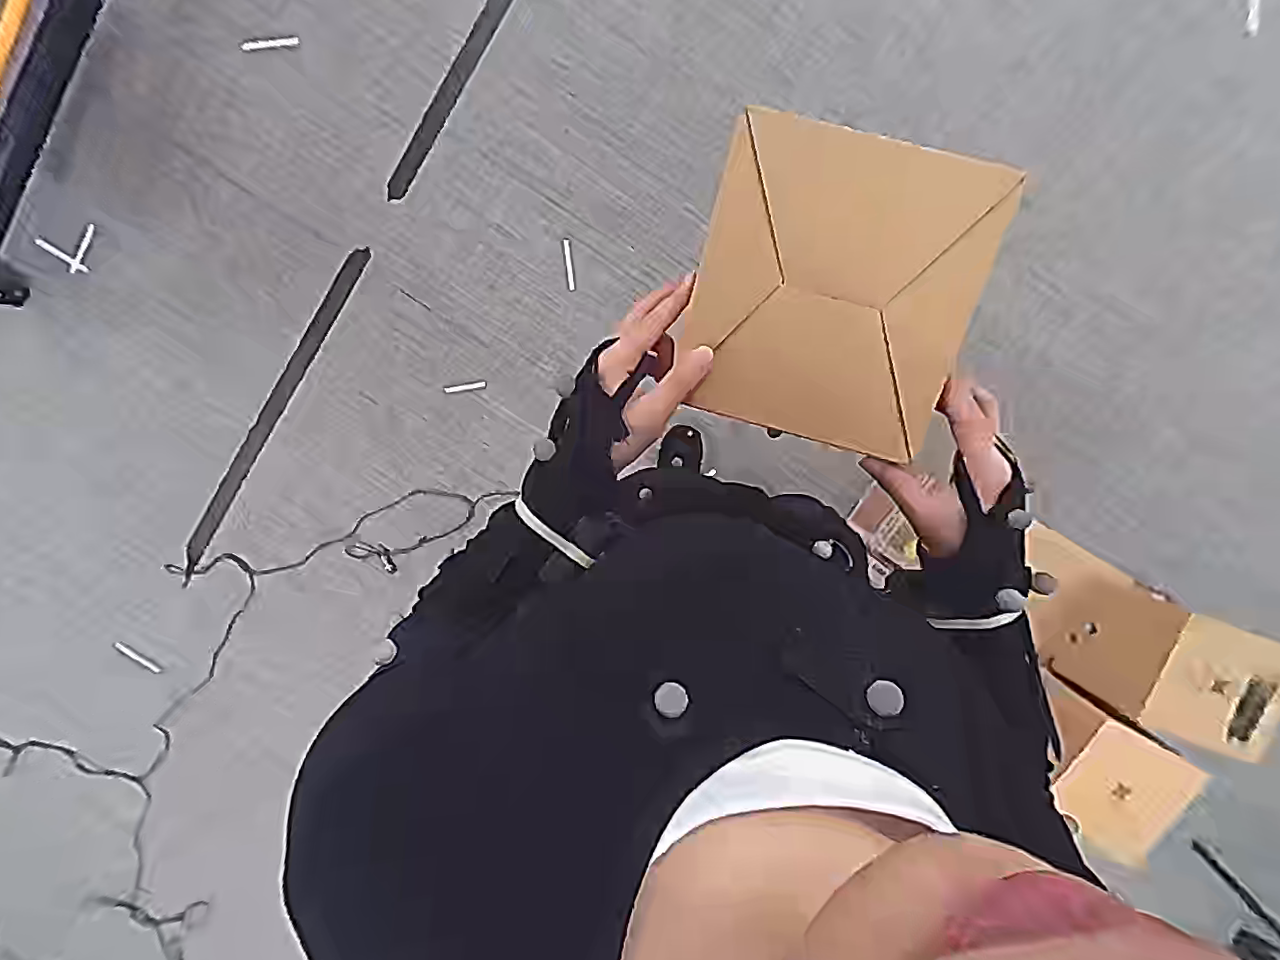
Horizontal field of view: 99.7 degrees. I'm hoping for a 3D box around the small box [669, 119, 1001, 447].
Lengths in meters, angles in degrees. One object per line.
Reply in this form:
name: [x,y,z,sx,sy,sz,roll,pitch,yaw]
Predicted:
small box: [0.122,-0.131,0.410,0.168,0.176,0.179,15,106,2]
